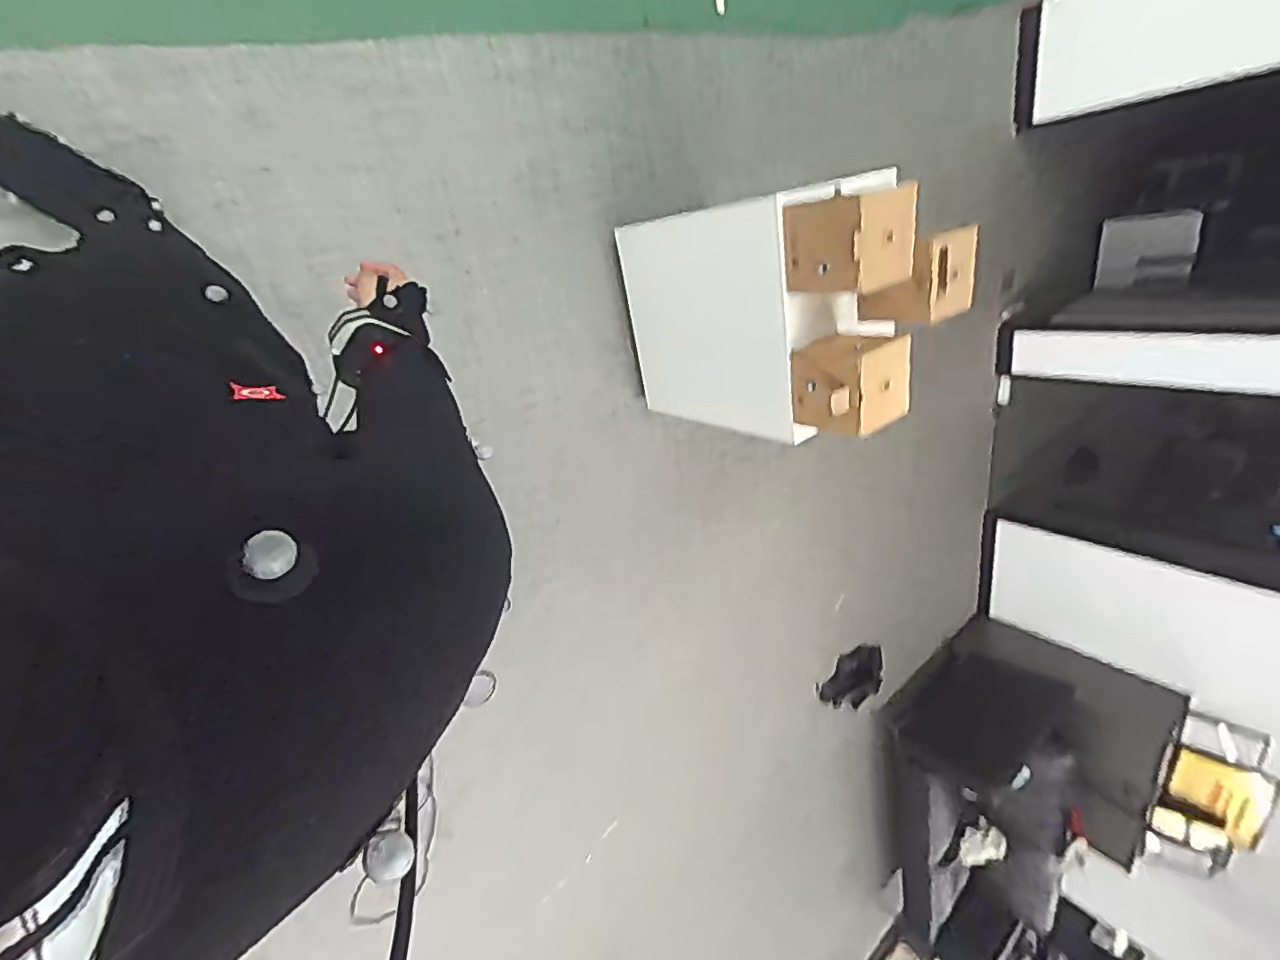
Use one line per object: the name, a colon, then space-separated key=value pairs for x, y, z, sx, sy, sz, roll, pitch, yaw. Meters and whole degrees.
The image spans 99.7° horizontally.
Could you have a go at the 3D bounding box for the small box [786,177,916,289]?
small box: x=0.391 y=-0.461 z=1.022 sx=0.179 sy=0.176 sz=0.168 roll=-27 pitch=121 yaw=-30

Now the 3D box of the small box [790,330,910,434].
small box: x=0.438 y=-0.215 z=1.137 sx=0.179 sy=0.176 sz=0.168 roll=-26 pitch=119 yaw=-29
